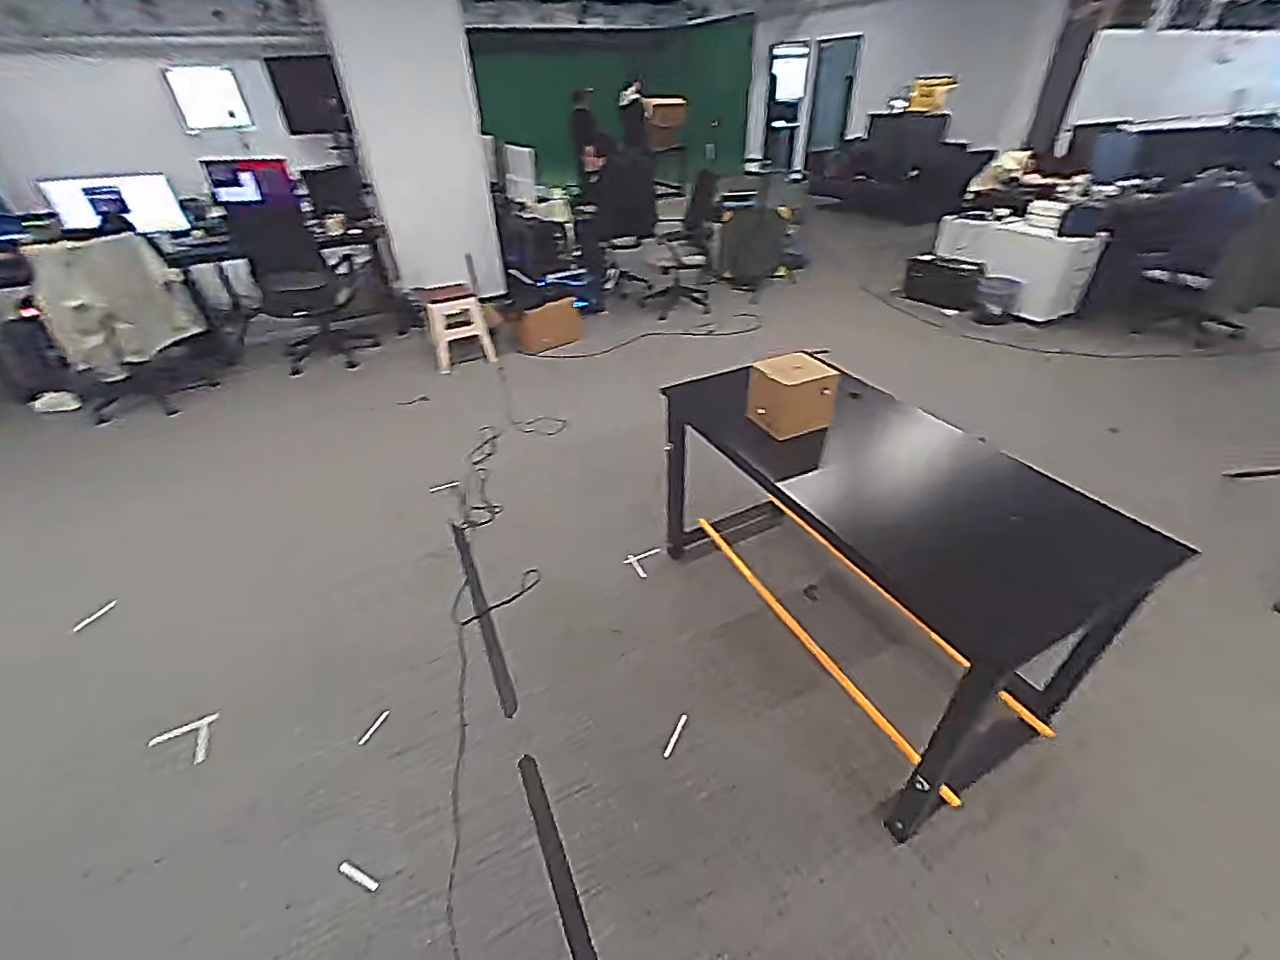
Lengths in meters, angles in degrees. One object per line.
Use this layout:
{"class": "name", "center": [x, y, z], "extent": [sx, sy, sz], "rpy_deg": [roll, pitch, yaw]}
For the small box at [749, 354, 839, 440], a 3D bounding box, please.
{"class": "small box", "center": [0.428, -0.237, 1.533], "extent": [0.179, 0.176, 0.168], "rpy_deg": [-17, 38, -19]}
